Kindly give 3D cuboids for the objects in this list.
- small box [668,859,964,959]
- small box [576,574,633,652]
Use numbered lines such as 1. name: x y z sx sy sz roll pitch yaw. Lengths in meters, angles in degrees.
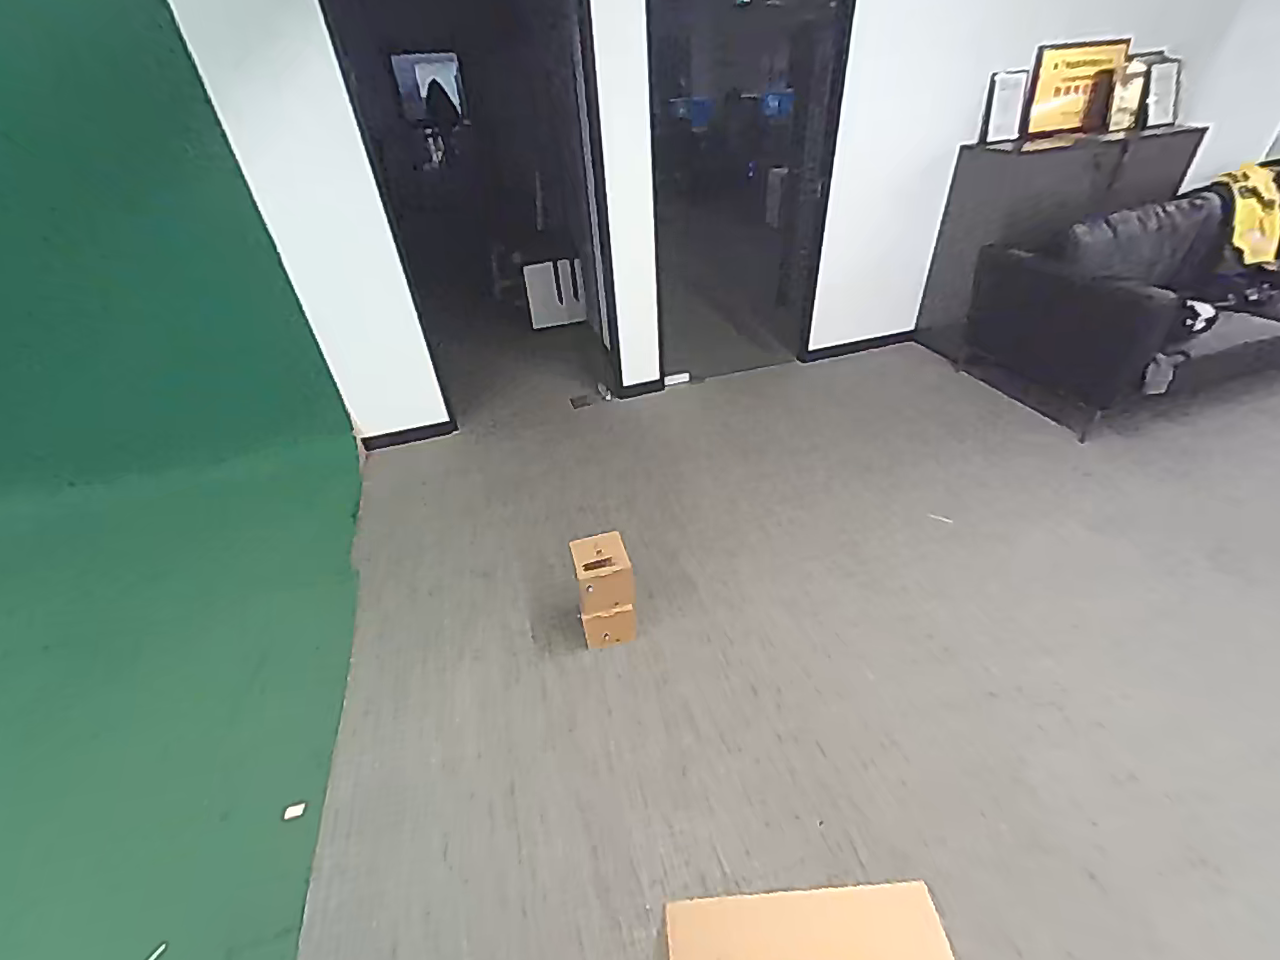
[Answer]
1. small box: 0.110 0.368 0.339 0.168 0.176 0.179 -2 41 -3
2. small box: -0.120 0.449 1.829 0.168 0.176 0.179 -9 38 -8
